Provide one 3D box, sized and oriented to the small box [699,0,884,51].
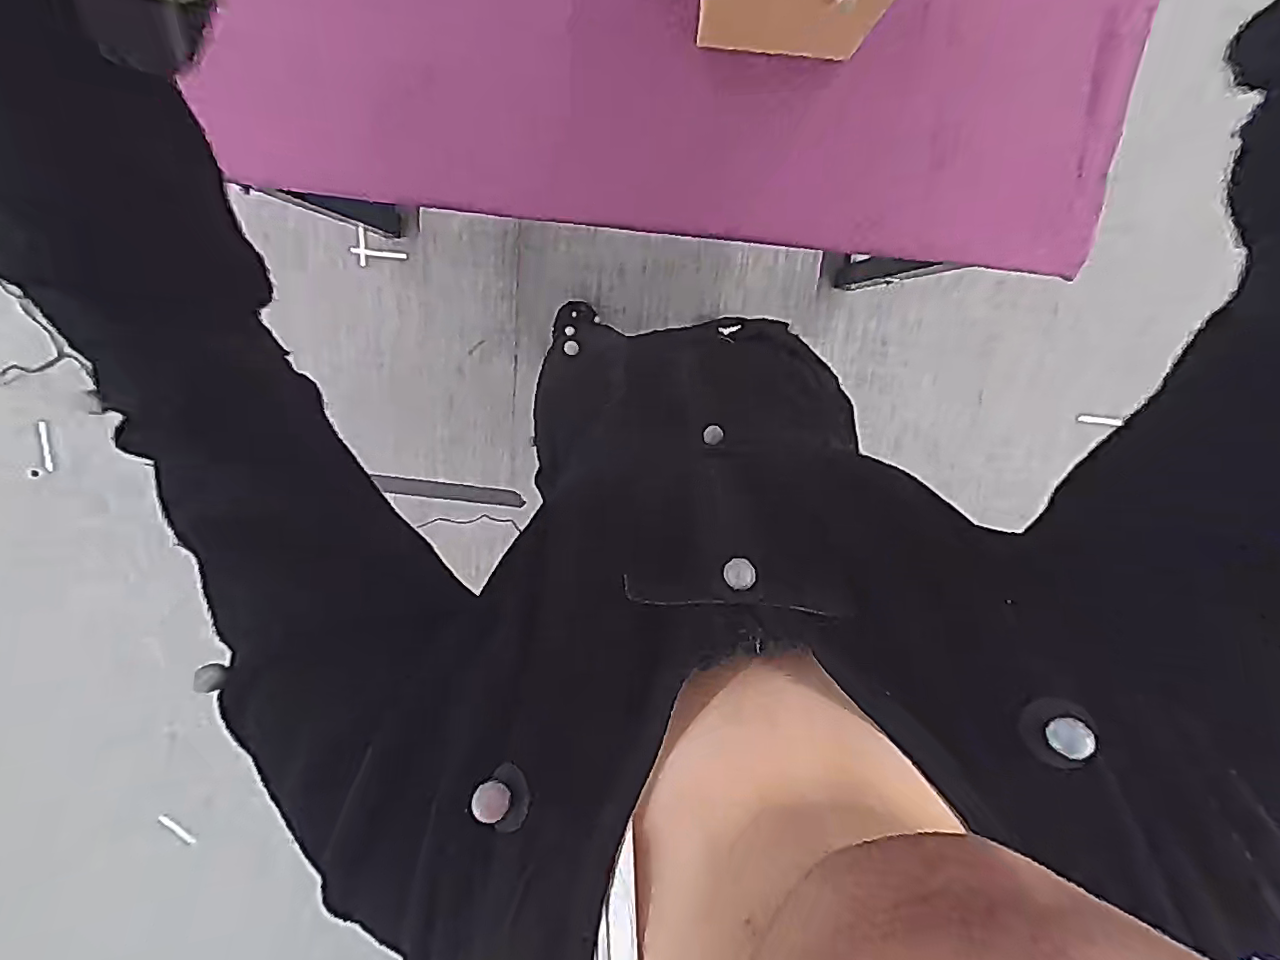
[{"bbox_3d":[0.158,-0.544,0.510,0.179,0.176,0.168,5,105,-1],"label":"small box"}]
